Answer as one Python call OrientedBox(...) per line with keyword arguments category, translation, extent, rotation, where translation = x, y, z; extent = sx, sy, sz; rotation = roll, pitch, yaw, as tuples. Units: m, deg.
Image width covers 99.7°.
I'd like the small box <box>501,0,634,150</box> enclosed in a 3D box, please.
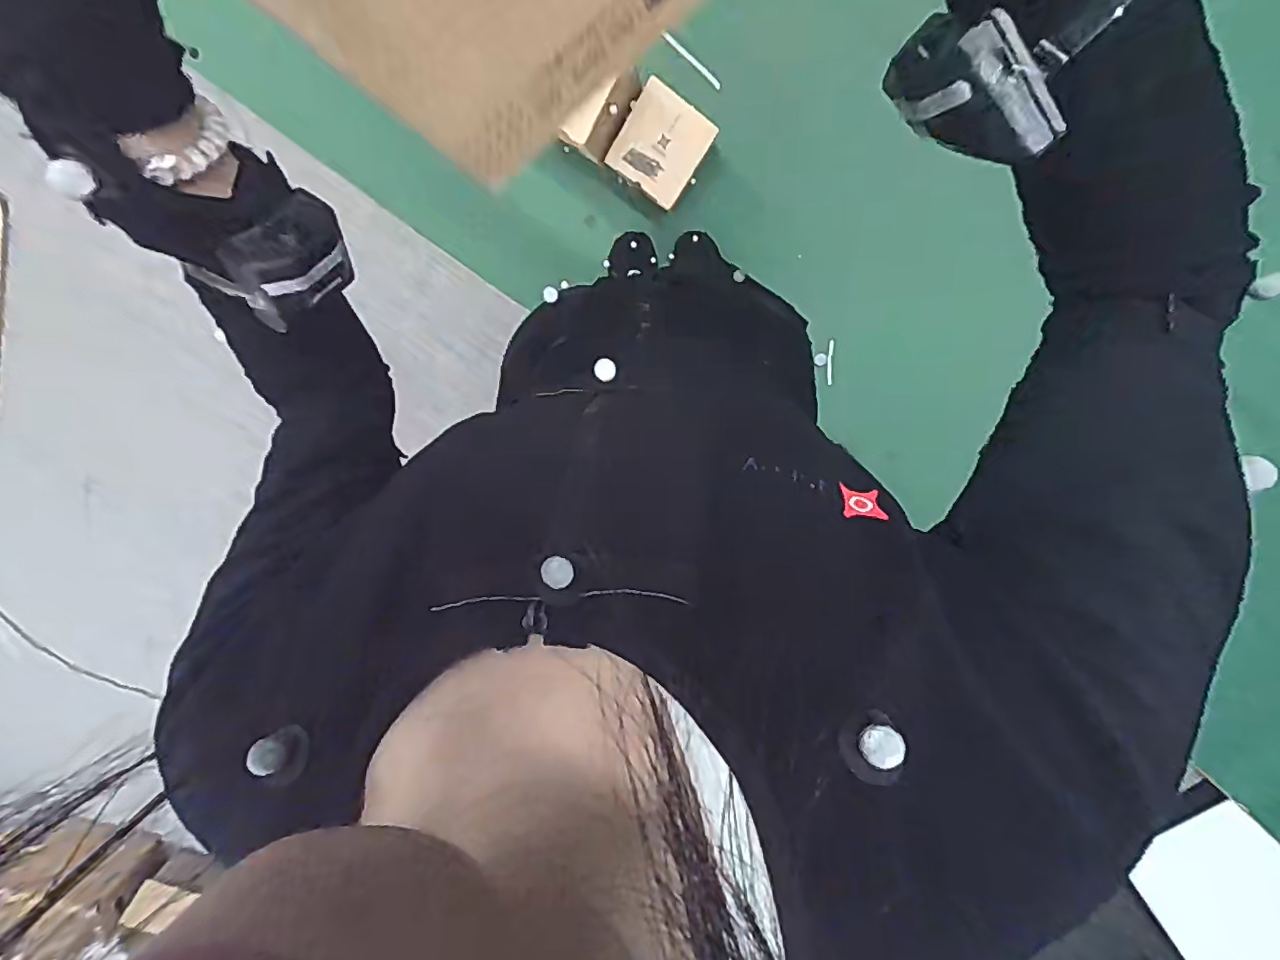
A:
OrientedBox(category="small box", translation=(-0.121, -0.729, 0.969), extent=(0.168, 0.176, 0.179), rotation=(30, 115, -11))
